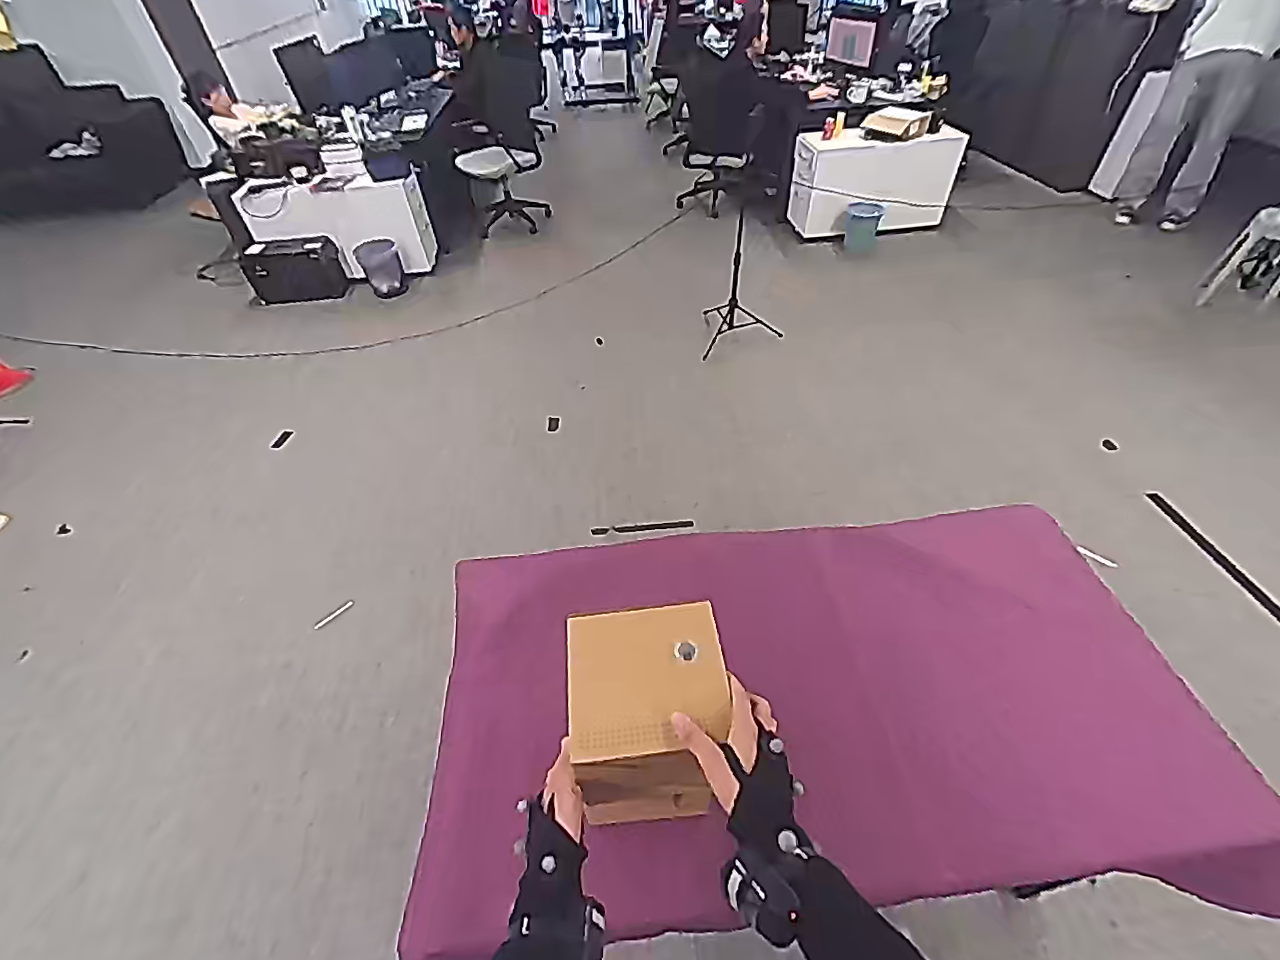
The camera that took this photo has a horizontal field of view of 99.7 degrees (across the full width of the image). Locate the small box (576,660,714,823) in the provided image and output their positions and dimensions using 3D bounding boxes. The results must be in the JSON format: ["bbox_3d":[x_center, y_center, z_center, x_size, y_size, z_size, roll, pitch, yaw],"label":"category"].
[{"bbox_3d":[0.003,0.380,0.784,0.179,0.176,0.168,-4,45,-1],"label":"small box"}]
